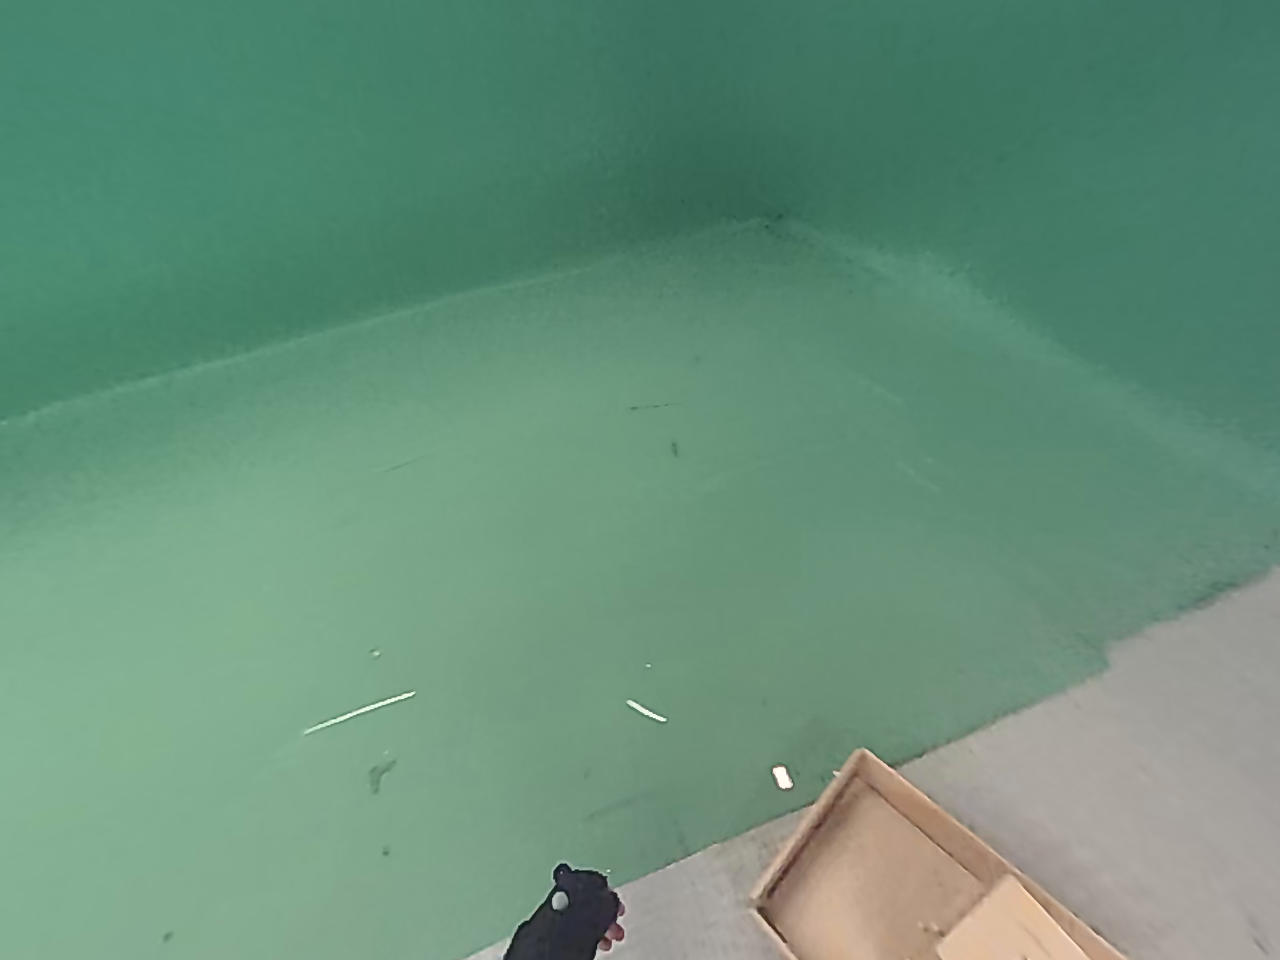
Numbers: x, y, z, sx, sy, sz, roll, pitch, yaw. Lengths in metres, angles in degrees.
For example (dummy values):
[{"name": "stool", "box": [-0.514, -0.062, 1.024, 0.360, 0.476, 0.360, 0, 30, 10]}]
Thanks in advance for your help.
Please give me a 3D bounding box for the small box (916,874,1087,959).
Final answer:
[{"name": "small box", "box": [0.555, 0.759, 0.831, 0.179, 0.176, 0.168, -26, 47, -19]}]
